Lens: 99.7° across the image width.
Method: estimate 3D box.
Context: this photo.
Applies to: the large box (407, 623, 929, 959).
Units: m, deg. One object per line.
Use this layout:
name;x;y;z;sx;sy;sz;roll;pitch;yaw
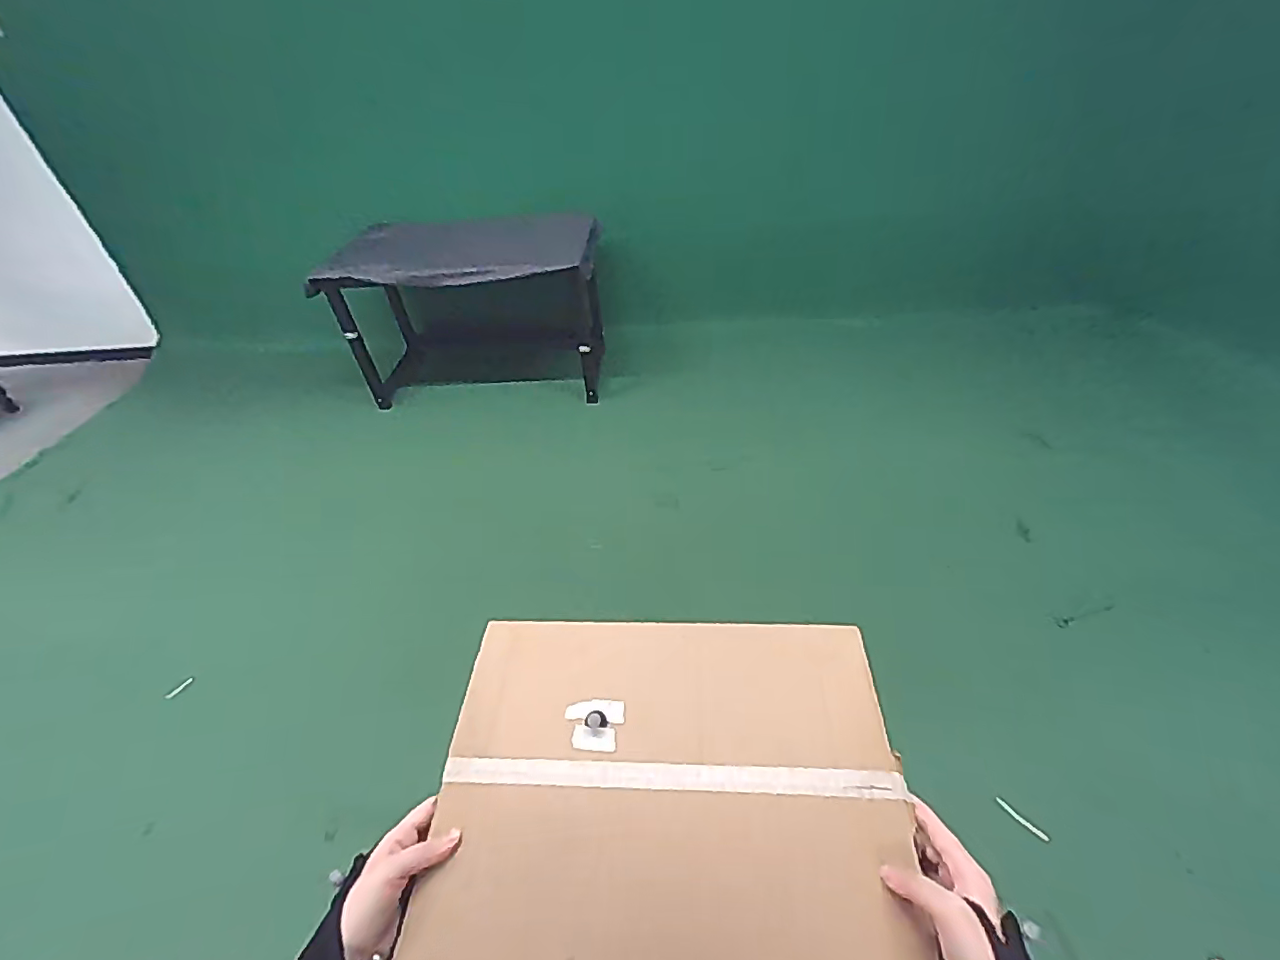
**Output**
large box;0.037;0.376;0.602;0.408;0.320;0.320;-2;45;7
